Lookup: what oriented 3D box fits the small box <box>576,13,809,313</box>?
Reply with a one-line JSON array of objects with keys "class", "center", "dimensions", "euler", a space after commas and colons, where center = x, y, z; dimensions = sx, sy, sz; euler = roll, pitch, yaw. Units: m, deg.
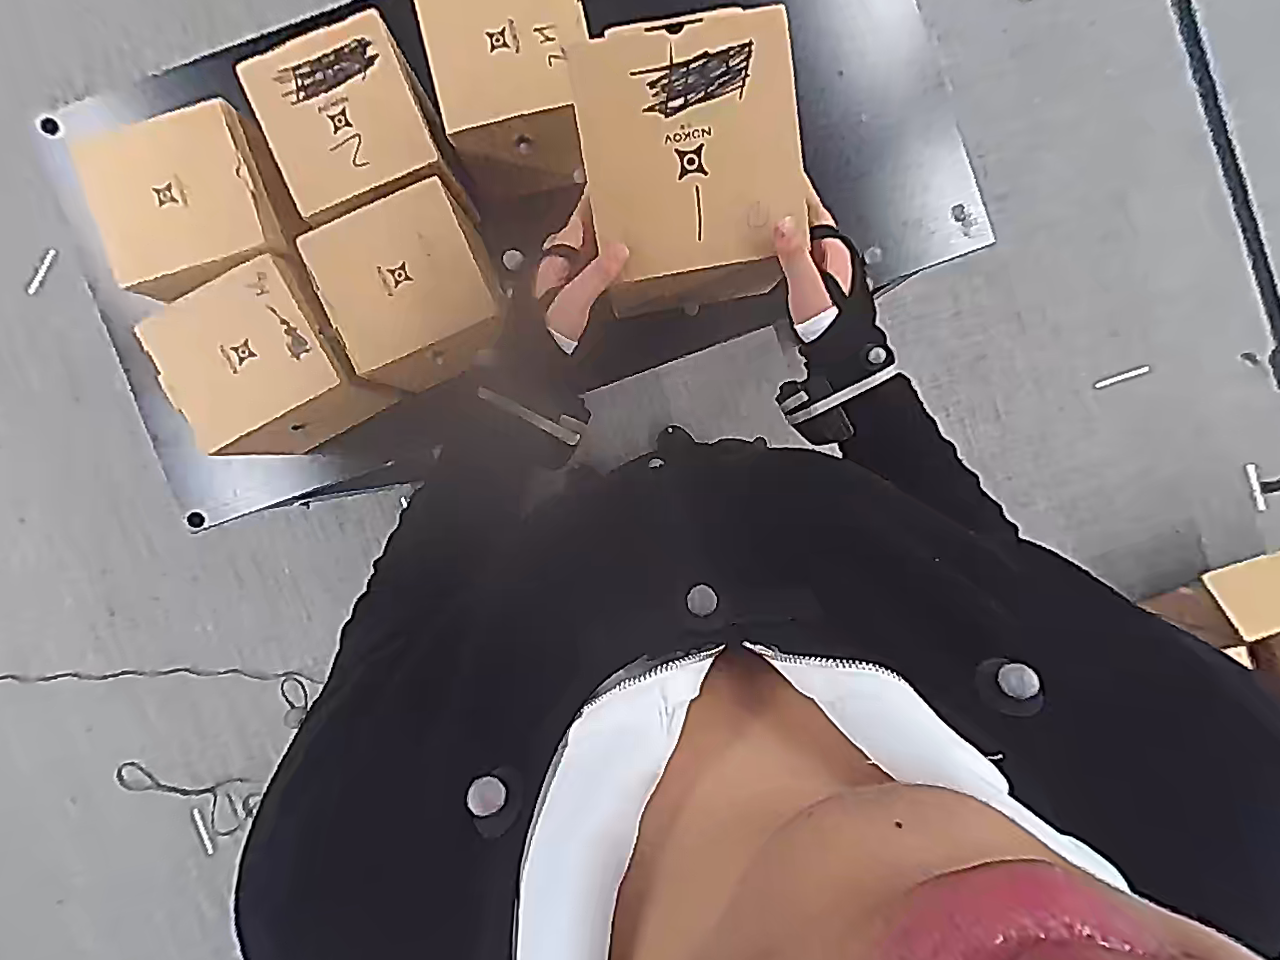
[{"class": "small box", "center": [0.042, -0.266, 0.498], "dimensions": [0.168, 0.176, 0.179], "euler": [-9, 98, 2]}]
